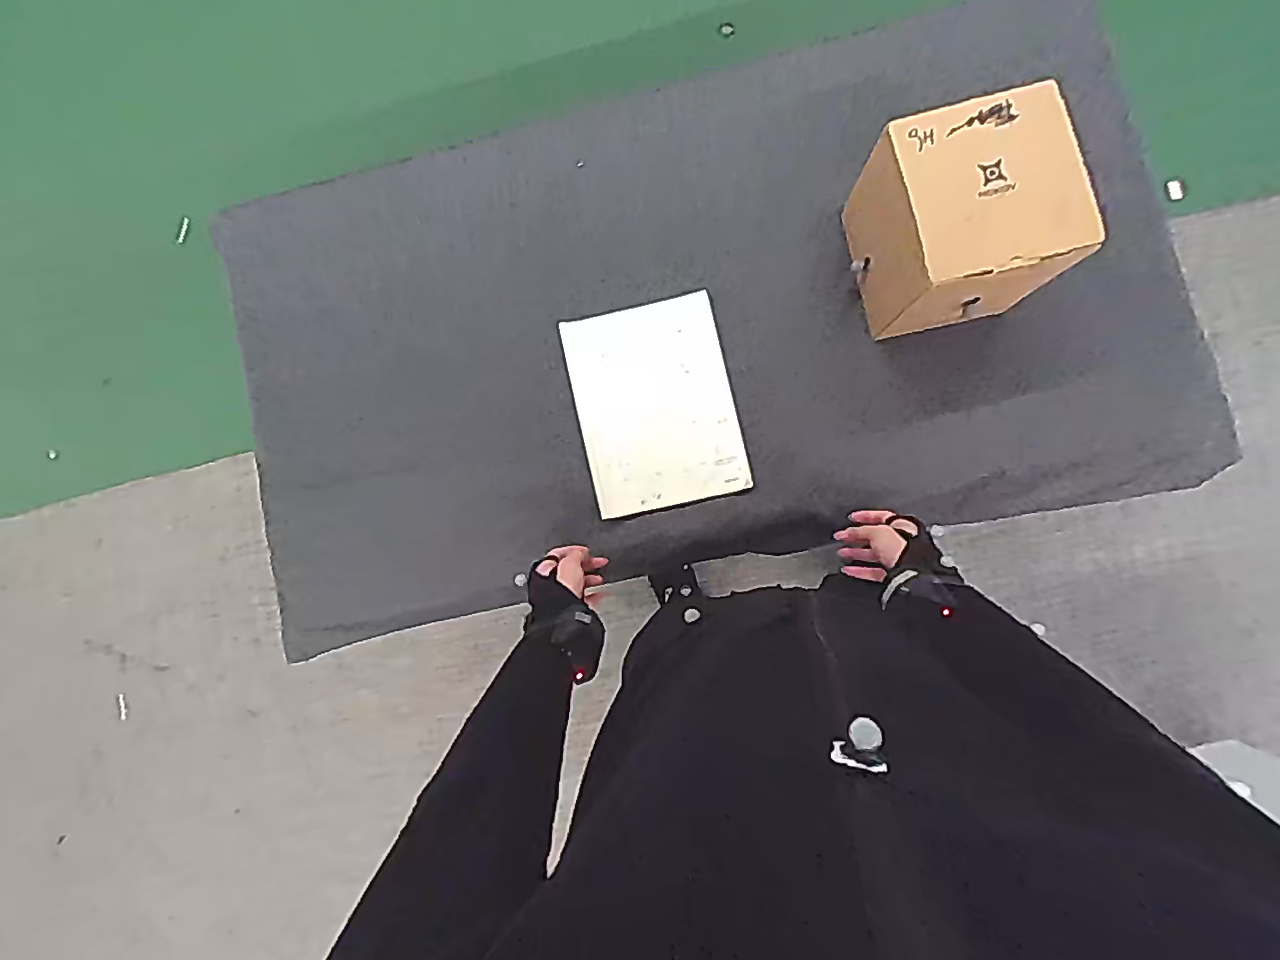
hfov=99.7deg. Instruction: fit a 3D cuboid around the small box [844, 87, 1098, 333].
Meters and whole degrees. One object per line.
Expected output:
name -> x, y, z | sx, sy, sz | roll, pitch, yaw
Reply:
small box -> 0.349, -0.279, 0.606 | 0.168, 0.176, 0.179 | -12, 86, 4
